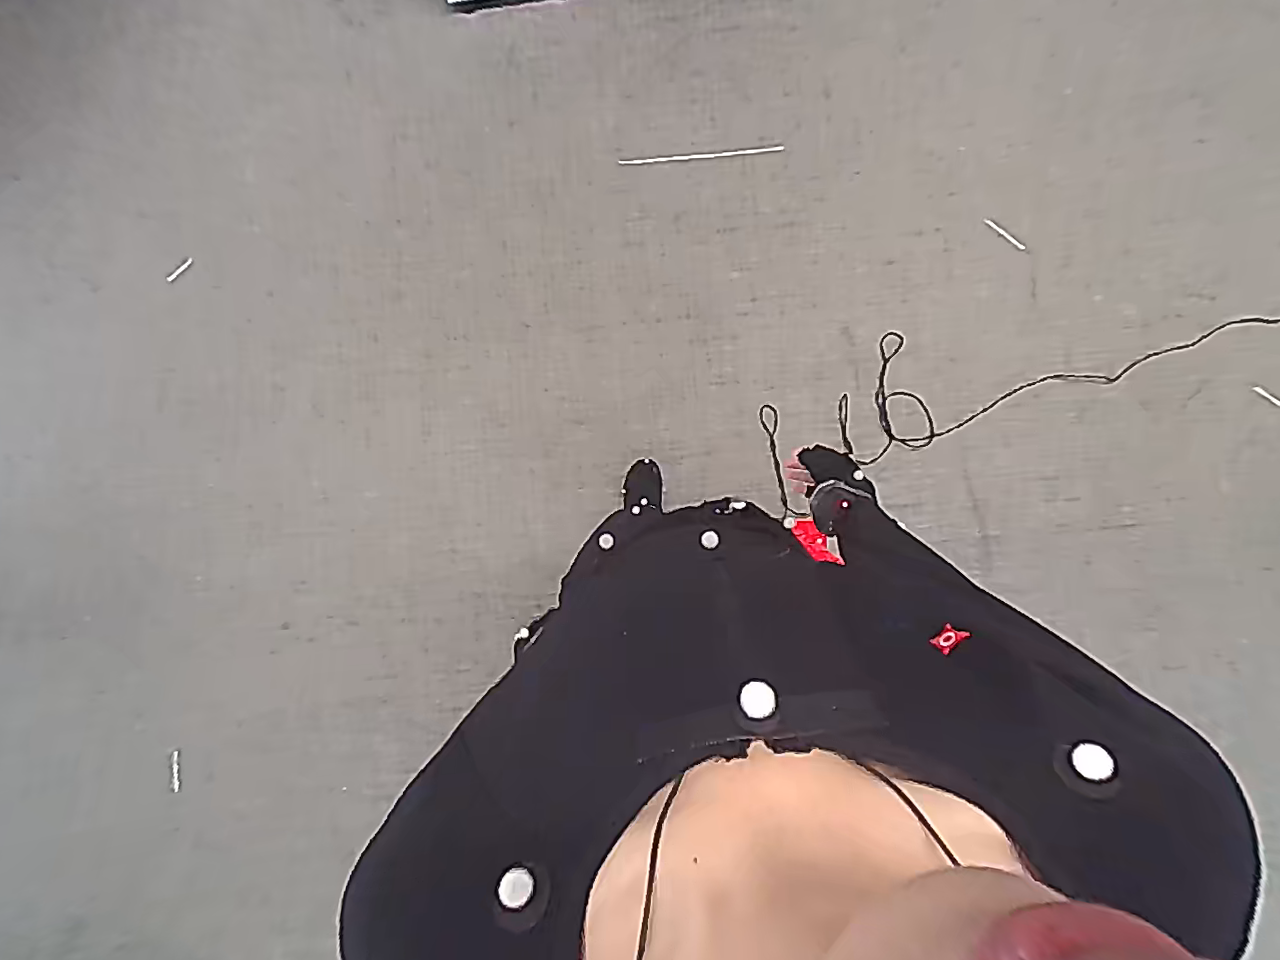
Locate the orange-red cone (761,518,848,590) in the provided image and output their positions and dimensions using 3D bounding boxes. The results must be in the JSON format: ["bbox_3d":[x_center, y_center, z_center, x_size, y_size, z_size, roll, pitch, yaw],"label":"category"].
[{"bbox_3d":[0.430,0.197,1.326,0.198,0.360,0.199,0,88,1],"label":"orange-red cone"}]
